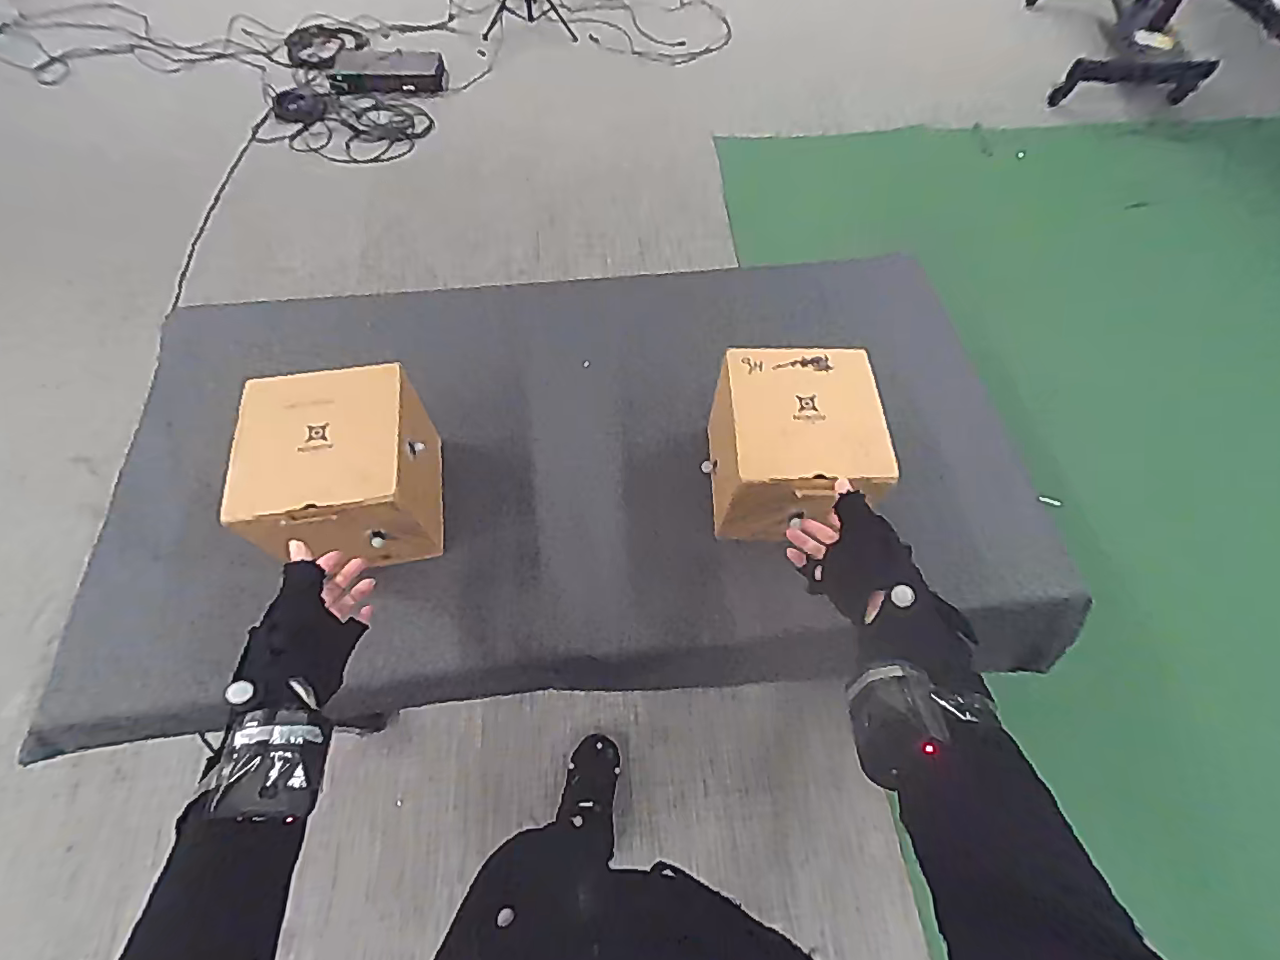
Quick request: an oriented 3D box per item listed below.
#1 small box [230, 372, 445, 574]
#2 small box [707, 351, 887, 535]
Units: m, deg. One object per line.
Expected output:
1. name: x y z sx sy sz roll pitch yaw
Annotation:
1. small box: -0.339 0.001 0.644 0.168 0.176 0.179 -9 62 -7
2. small box: 0.176 -0.038 0.667 0.168 0.176 0.179 0 64 -1
